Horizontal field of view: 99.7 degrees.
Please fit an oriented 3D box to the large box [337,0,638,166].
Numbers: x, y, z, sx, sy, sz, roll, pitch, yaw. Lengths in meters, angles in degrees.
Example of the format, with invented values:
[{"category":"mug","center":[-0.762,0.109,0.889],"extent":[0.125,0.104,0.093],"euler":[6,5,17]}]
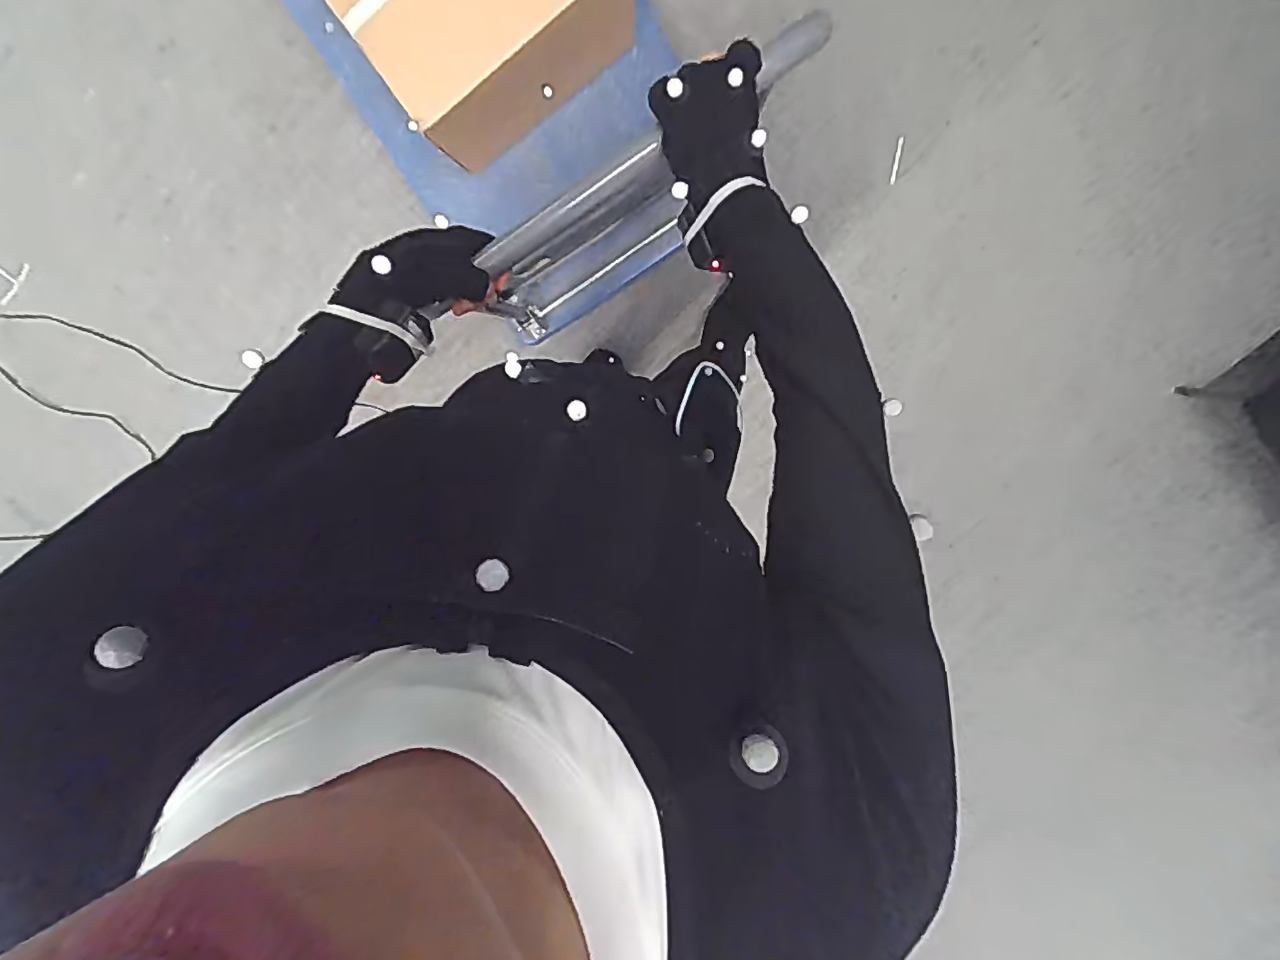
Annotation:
[{"category":"large box","center":[-0.248,-0.808,0.883],"extent":[0.408,0.320,0.320],"euler":[-34,106,10]}]
